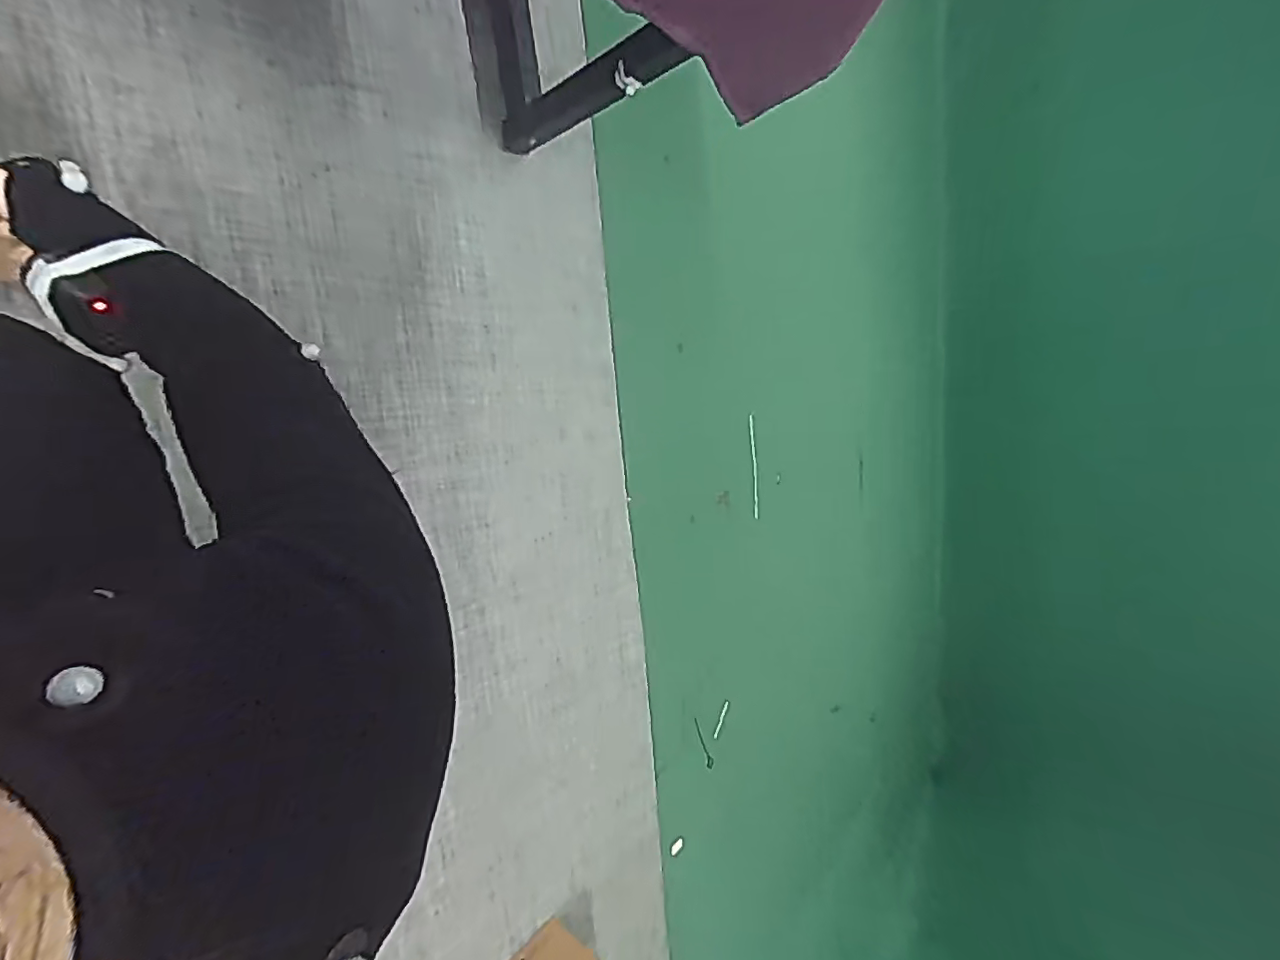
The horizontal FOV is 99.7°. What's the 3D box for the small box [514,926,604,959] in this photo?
[{"bbox_3d":[-0.178,1.095,1.135,0.168,0.176,0.179,-17,106,-46],"label":"small box"}]
